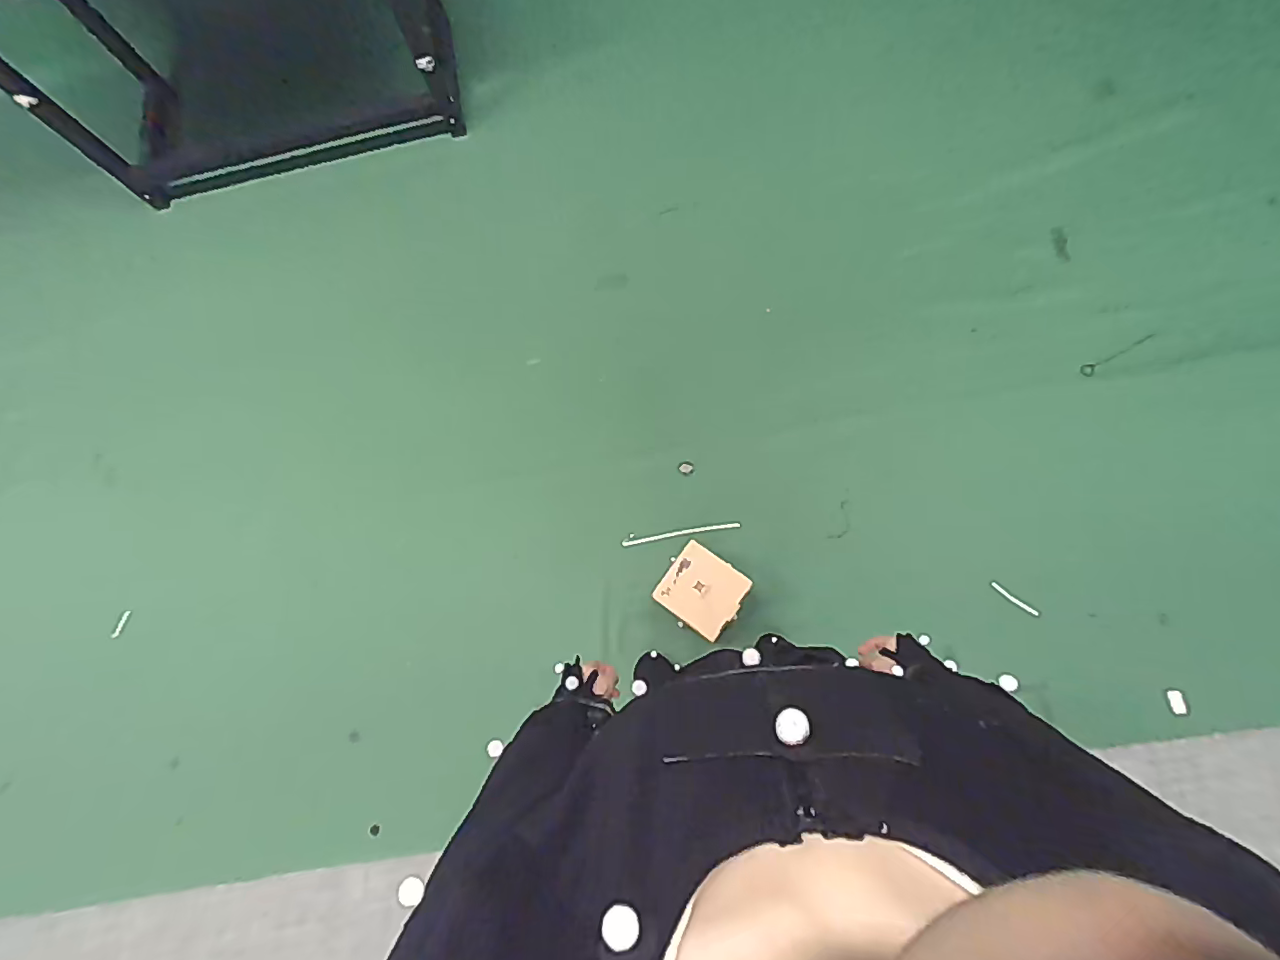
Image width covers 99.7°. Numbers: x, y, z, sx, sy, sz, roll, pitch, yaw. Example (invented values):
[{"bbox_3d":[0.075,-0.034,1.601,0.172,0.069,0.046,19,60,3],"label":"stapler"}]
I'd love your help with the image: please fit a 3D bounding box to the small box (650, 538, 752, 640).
[{"bbox_3d":[0.146,0.264,1.301,0.179,0.176,0.168,35,80,14],"label":"small box"}]
